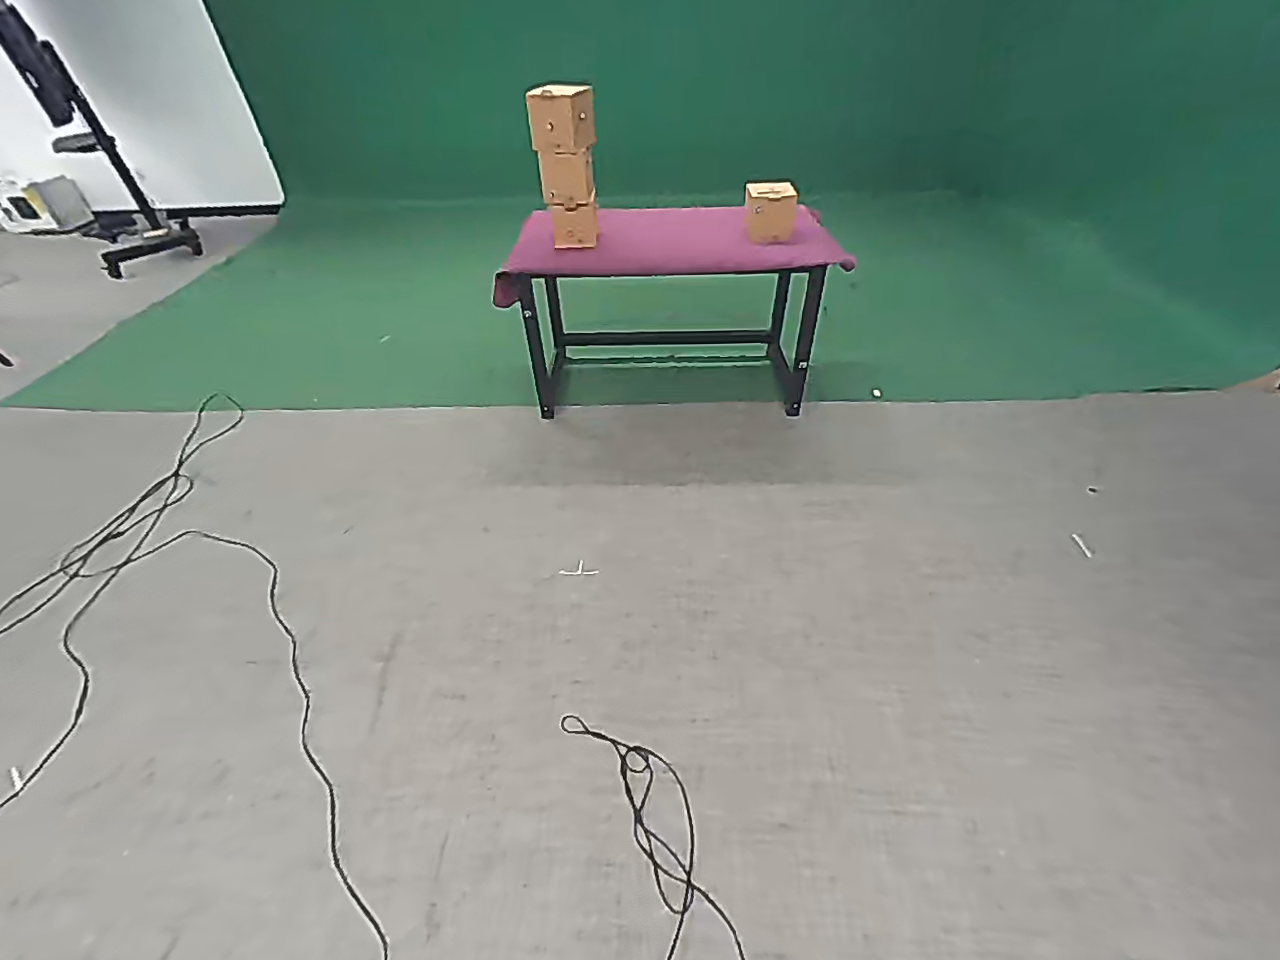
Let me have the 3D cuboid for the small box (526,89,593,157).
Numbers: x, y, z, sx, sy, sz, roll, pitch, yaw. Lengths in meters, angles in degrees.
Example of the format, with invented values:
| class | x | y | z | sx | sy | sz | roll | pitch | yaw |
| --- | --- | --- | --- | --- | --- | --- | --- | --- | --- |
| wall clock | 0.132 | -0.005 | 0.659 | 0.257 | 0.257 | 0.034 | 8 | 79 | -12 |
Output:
| class | x | y | z | sx | sy | sz | roll | pitch | yaw |
| --- | --- | --- | --- | --- | --- | --- | --- | --- | --- |
| small box | -0.272 | -1.242 | 1.883 | 0.168 | 0.176 | 0.179 | 14 | 47 | 15 |

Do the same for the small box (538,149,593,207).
| class | x | y | z | sx | sy | sz | roll | pitch | yaw |
| --- | --- | --- | --- | --- | --- | --- | --- | --- | --- |
| small box | -0.269 | -1.121 | 1.994 | 0.168 | 0.176 | 0.179 | 2 | 43 | 3 |

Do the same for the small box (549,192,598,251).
| class | x | y | z | sx | sy | sz | roll | pitch | yaw |
| --- | --- | --- | --- | --- | --- | --- | --- | --- | --- |
| small box | -0.255 | -1.011 | 2.117 | 0.168 | 0.176 | 0.179 | -2 | 44 | 0 |
